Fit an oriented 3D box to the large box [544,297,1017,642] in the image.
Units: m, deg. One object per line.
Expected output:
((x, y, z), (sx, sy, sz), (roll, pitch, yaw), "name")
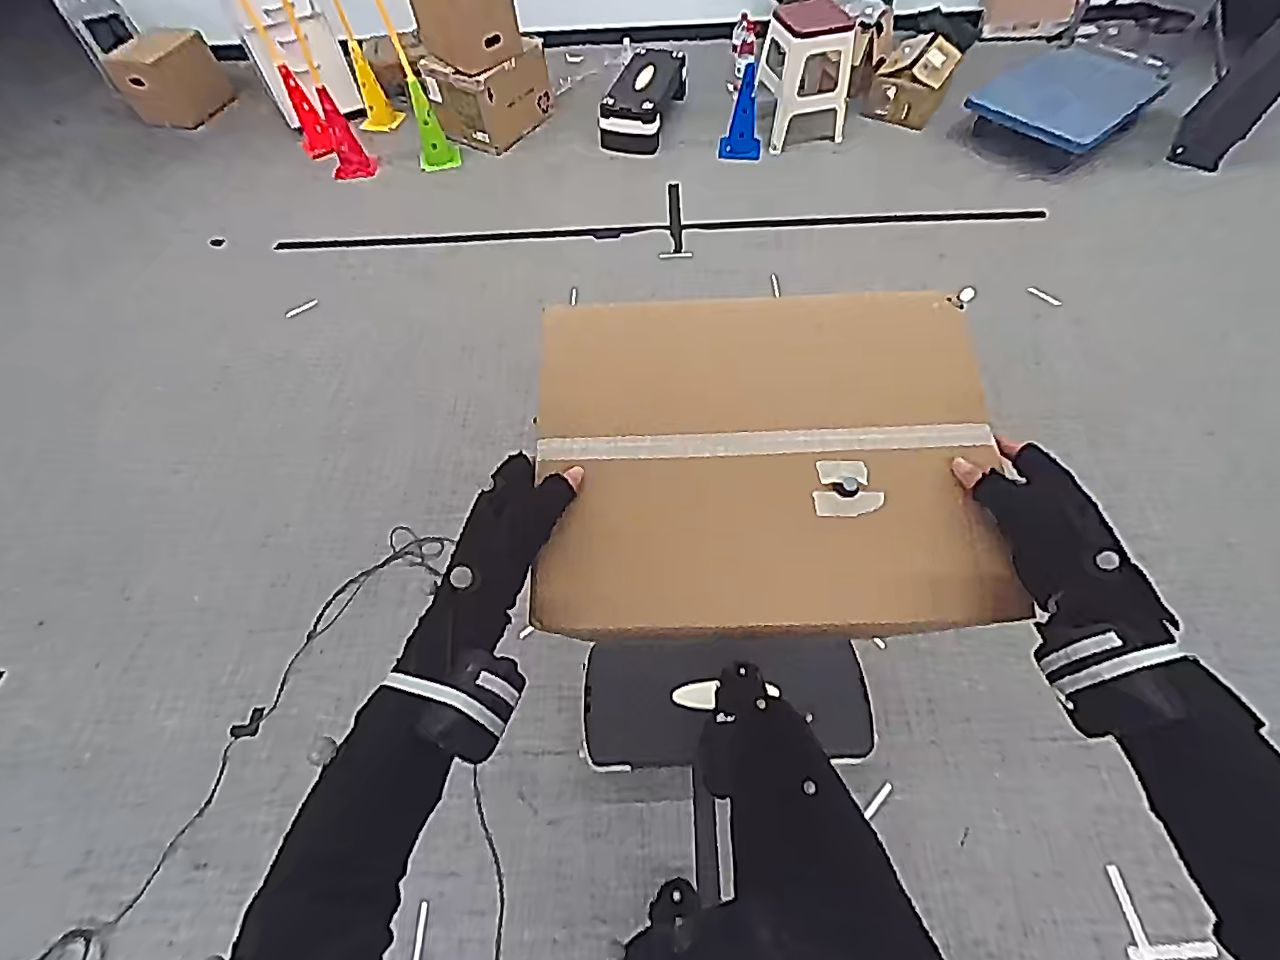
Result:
((0.114, 0.017, 0.638), (0.408, 0.320, 0.320), (-2, 72, 1), "large box")
